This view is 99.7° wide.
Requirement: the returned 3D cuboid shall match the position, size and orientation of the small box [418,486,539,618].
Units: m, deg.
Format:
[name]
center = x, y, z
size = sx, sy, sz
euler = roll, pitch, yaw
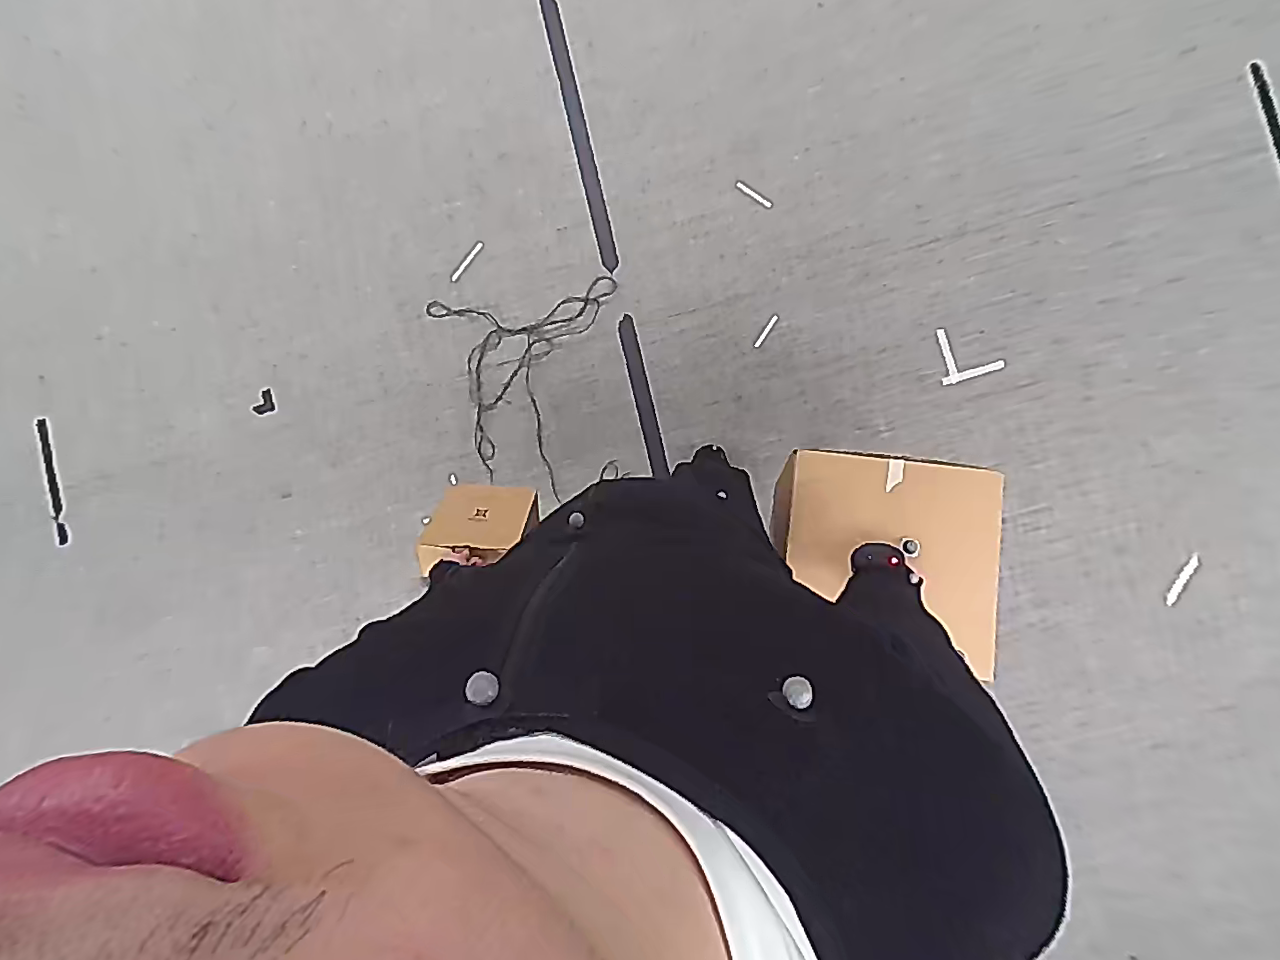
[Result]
[small box]
center = -0.282, 0.133, 0.989
size = 0.168, 0.179, 0.176
euler = 4, 125, -1
